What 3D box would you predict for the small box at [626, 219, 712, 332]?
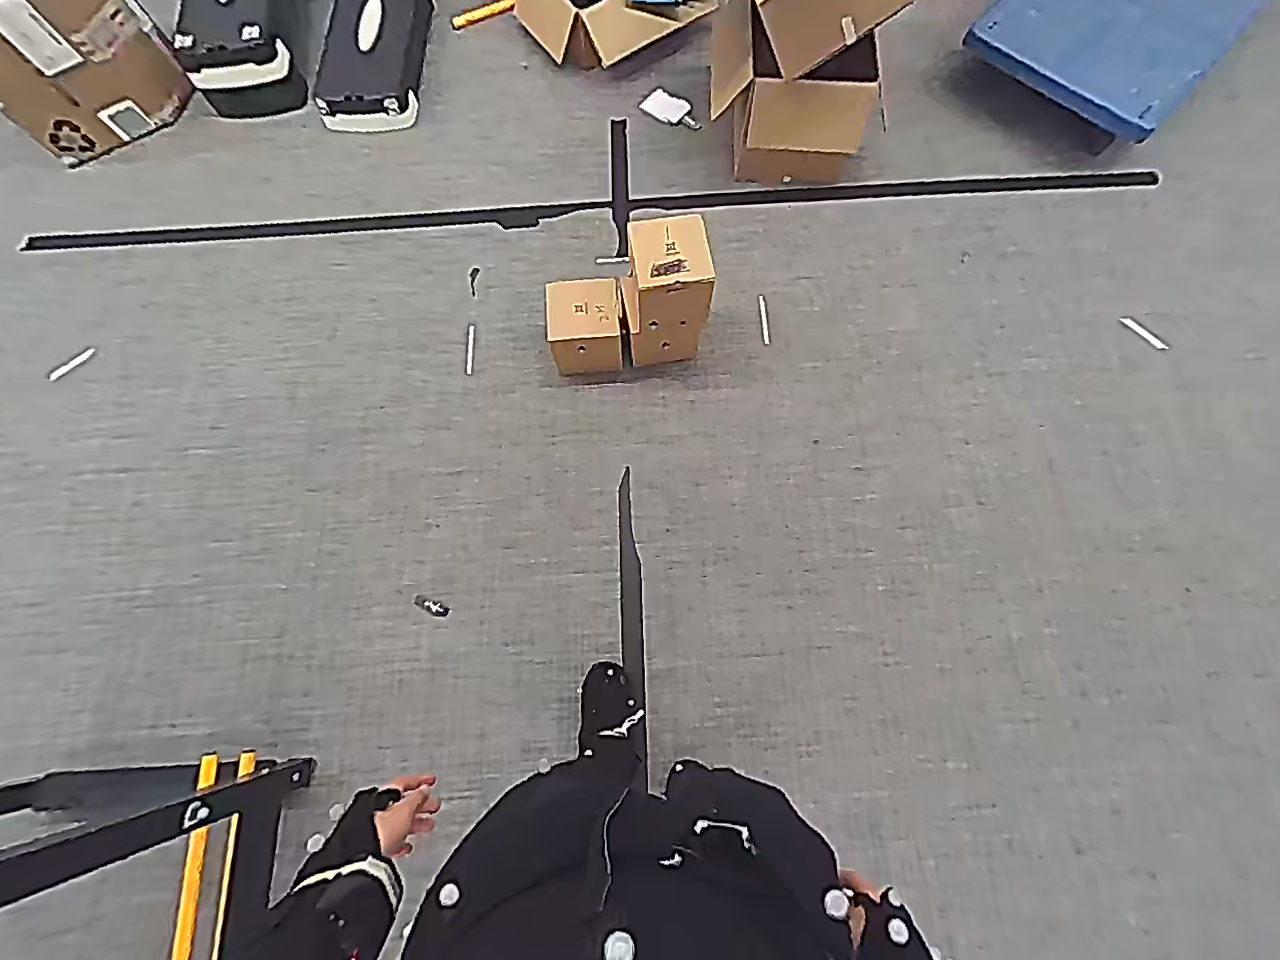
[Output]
[{"bbox_3d":[0.063,-0.456,1.235,0.168,0.176,0.179,-8,72,-2],"label":"small box"}]
